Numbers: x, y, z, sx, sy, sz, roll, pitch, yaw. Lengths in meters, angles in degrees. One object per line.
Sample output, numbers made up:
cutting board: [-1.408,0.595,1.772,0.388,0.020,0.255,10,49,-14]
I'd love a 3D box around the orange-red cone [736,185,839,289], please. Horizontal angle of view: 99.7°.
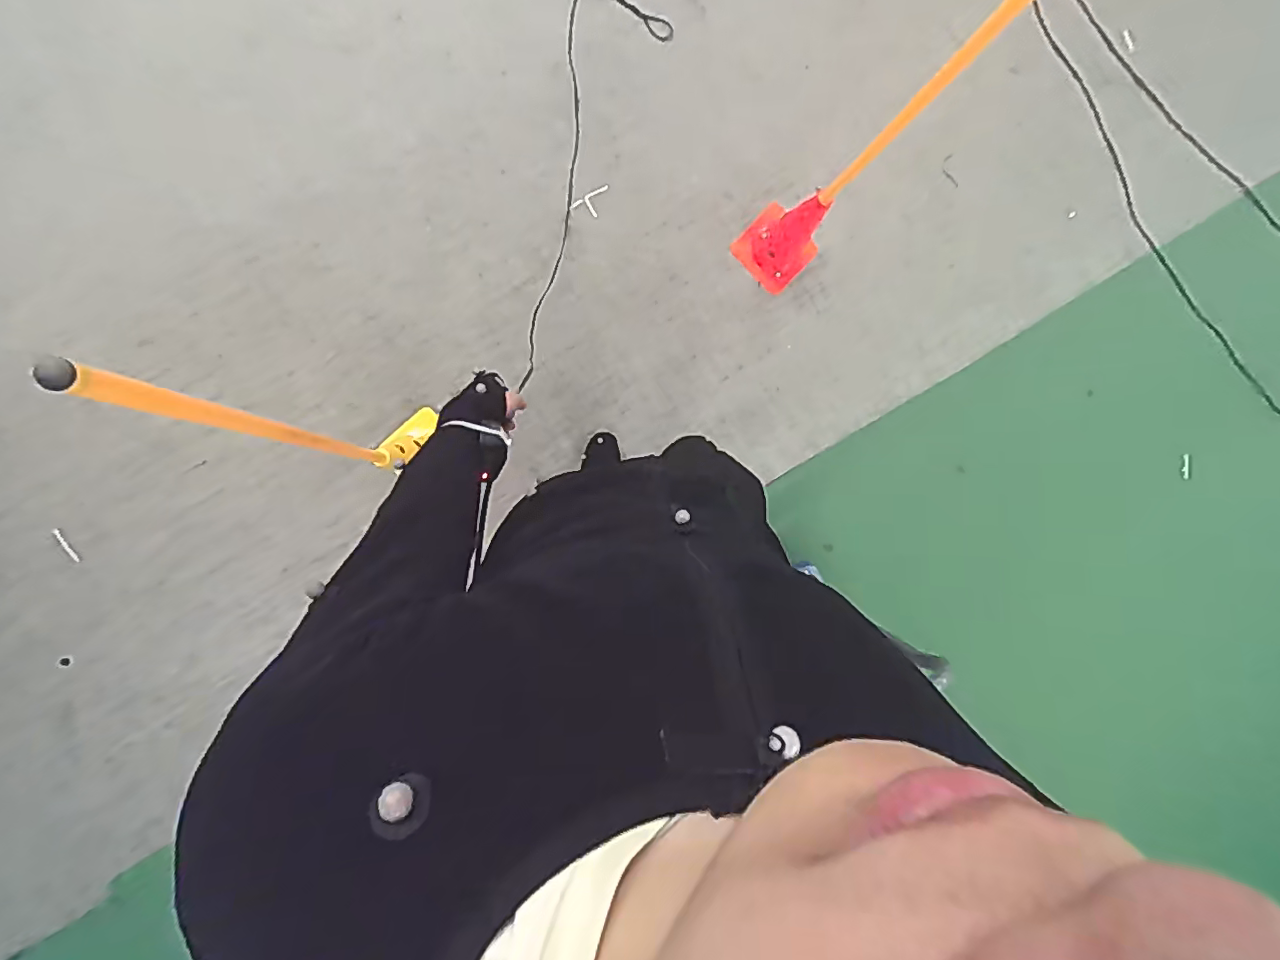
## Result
orange-red cone: [0.424,-0.678,1.419,0.198,0.360,0.199,45,88,-8]
